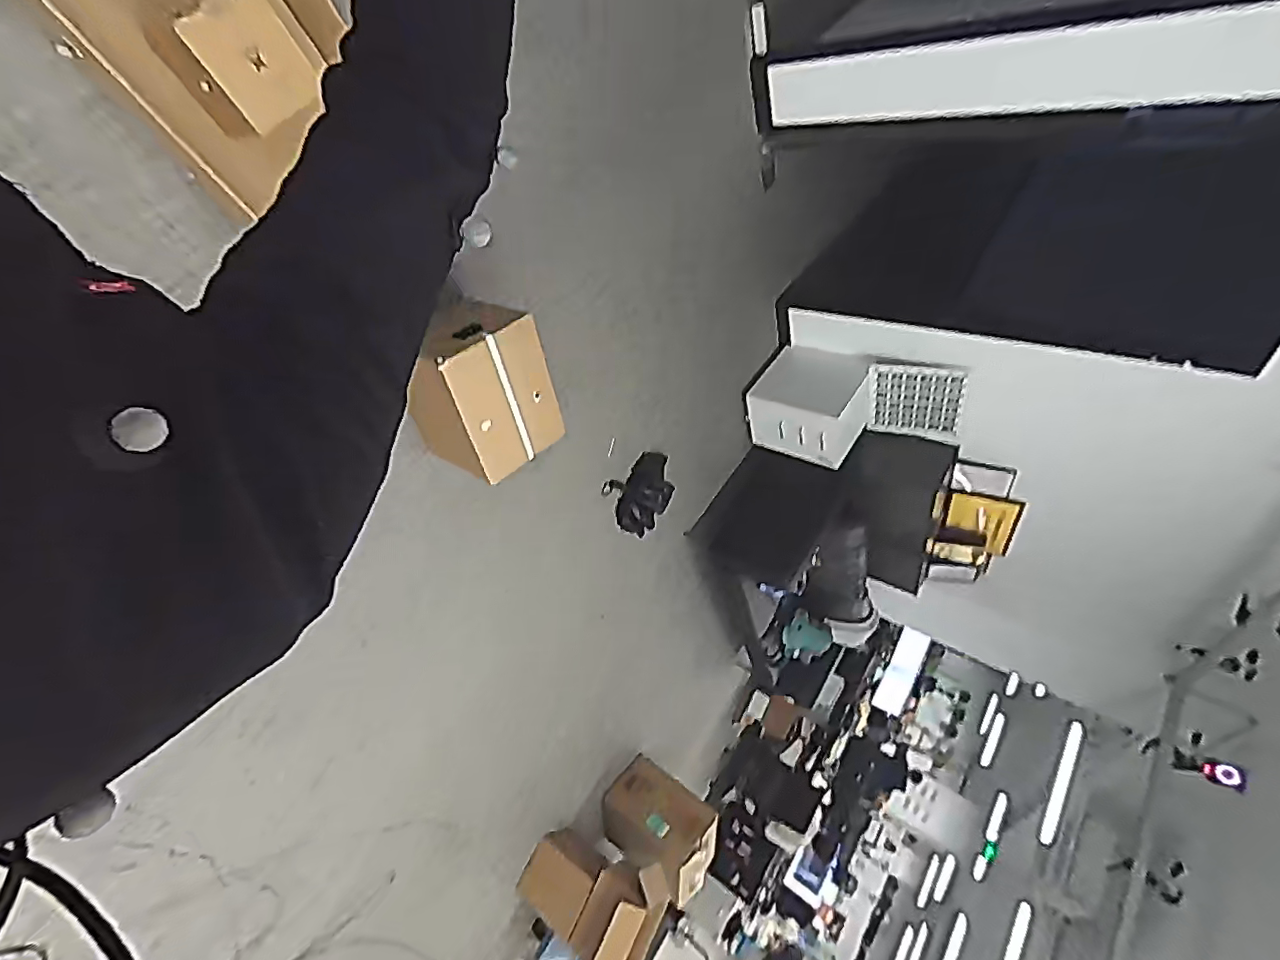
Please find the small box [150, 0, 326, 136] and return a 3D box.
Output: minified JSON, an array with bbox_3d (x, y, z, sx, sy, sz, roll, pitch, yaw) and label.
[{"bbox_3d":[-0.740,-0.766,0.998,0.168,0.176,0.179,-54,145,-19],"label":"small box"}]
